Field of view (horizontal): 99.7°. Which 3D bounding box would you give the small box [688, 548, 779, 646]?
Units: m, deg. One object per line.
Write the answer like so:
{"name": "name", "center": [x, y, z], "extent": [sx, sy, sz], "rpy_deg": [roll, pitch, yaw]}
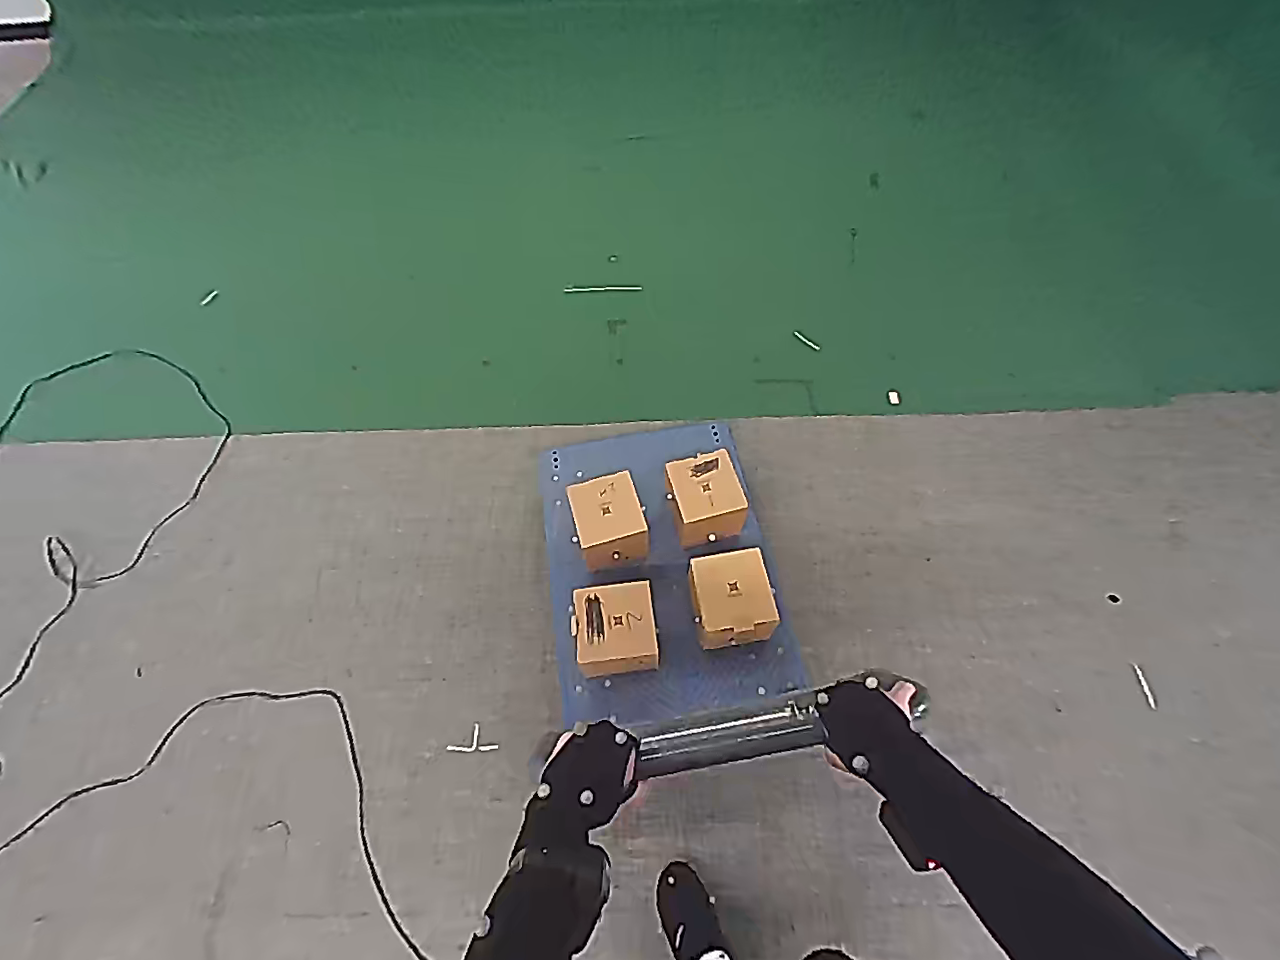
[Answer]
{"name": "small box", "center": [0.213, 0.281, 1.285], "extent": [0.168, 0.176, 0.179], "rpy_deg": [-9, 62, -3]}

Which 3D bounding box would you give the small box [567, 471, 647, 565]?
{"name": "small box", "center": [-0.080, 0.106, 1.390], "extent": [0.168, 0.176, 0.179], "rpy_deg": [-15, 62, -7]}

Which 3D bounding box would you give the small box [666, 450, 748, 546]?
{"name": "small box", "center": [0.166, 0.050, 1.413], "extent": [0.168, 0.176, 0.179], "rpy_deg": [-14, 63, -5]}
